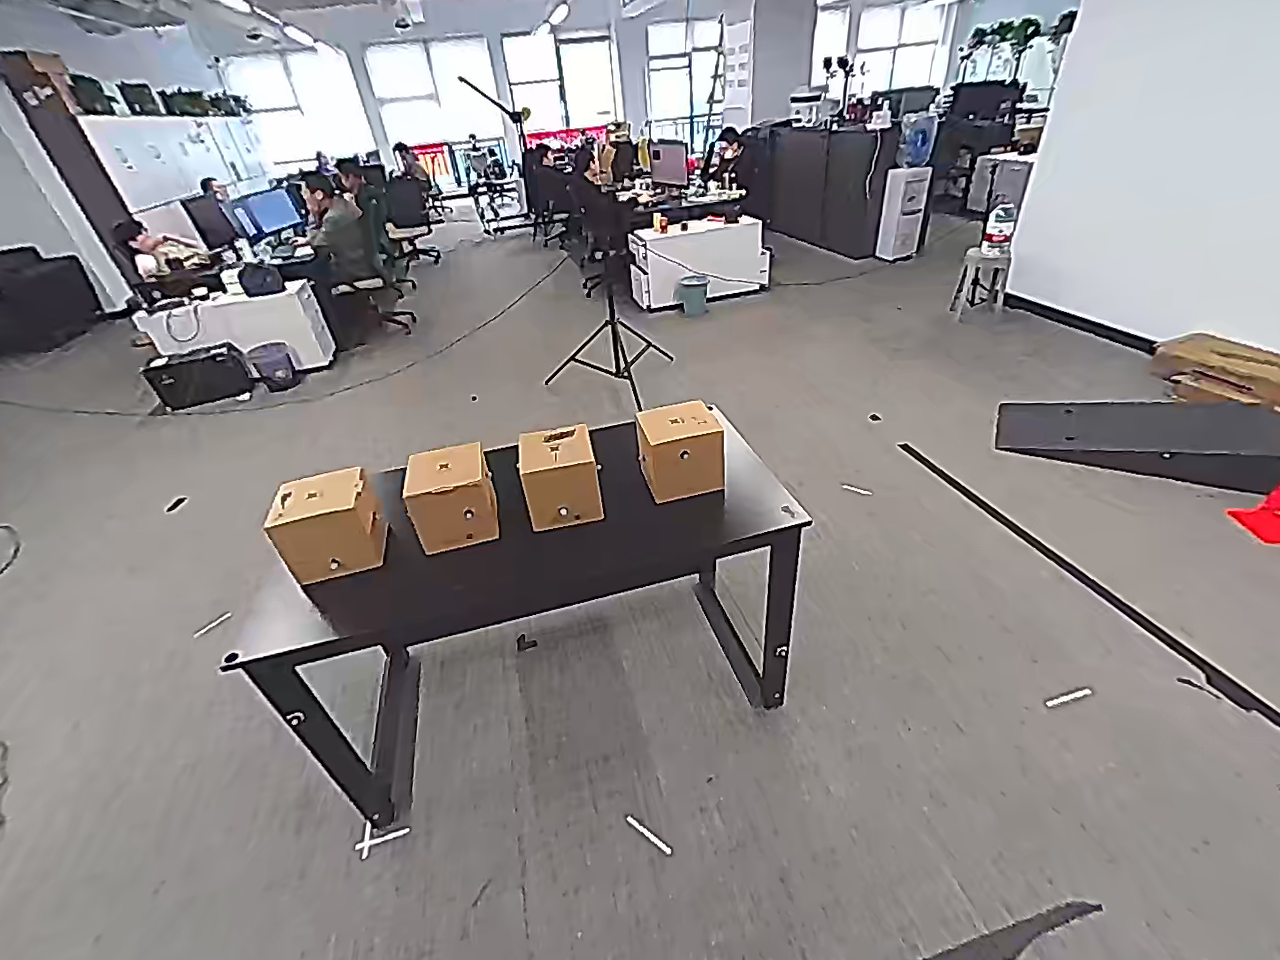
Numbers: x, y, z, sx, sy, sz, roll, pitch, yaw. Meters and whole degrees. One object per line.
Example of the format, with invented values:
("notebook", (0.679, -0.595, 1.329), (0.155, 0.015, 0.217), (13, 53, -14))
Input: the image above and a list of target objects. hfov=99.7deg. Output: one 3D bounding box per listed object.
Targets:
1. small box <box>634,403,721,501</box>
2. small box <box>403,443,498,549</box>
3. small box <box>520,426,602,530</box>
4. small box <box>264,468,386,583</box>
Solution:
("small box", (0.094, -0.067, 1.326), (0.179, 0.176, 0.168), (-12, 35, -8))
("small box", (-0.431, 0.041, 1.249), (0.168, 0.176, 0.179), (-12, 35, -11))
("small box", (-0.187, -0.006, 1.279), (0.168, 0.176, 0.179), (-10, 36, -6))
("small box", (-0.681, 0.100, 1.196), (0.179, 0.176, 0.168), (-13, 35, -12))
